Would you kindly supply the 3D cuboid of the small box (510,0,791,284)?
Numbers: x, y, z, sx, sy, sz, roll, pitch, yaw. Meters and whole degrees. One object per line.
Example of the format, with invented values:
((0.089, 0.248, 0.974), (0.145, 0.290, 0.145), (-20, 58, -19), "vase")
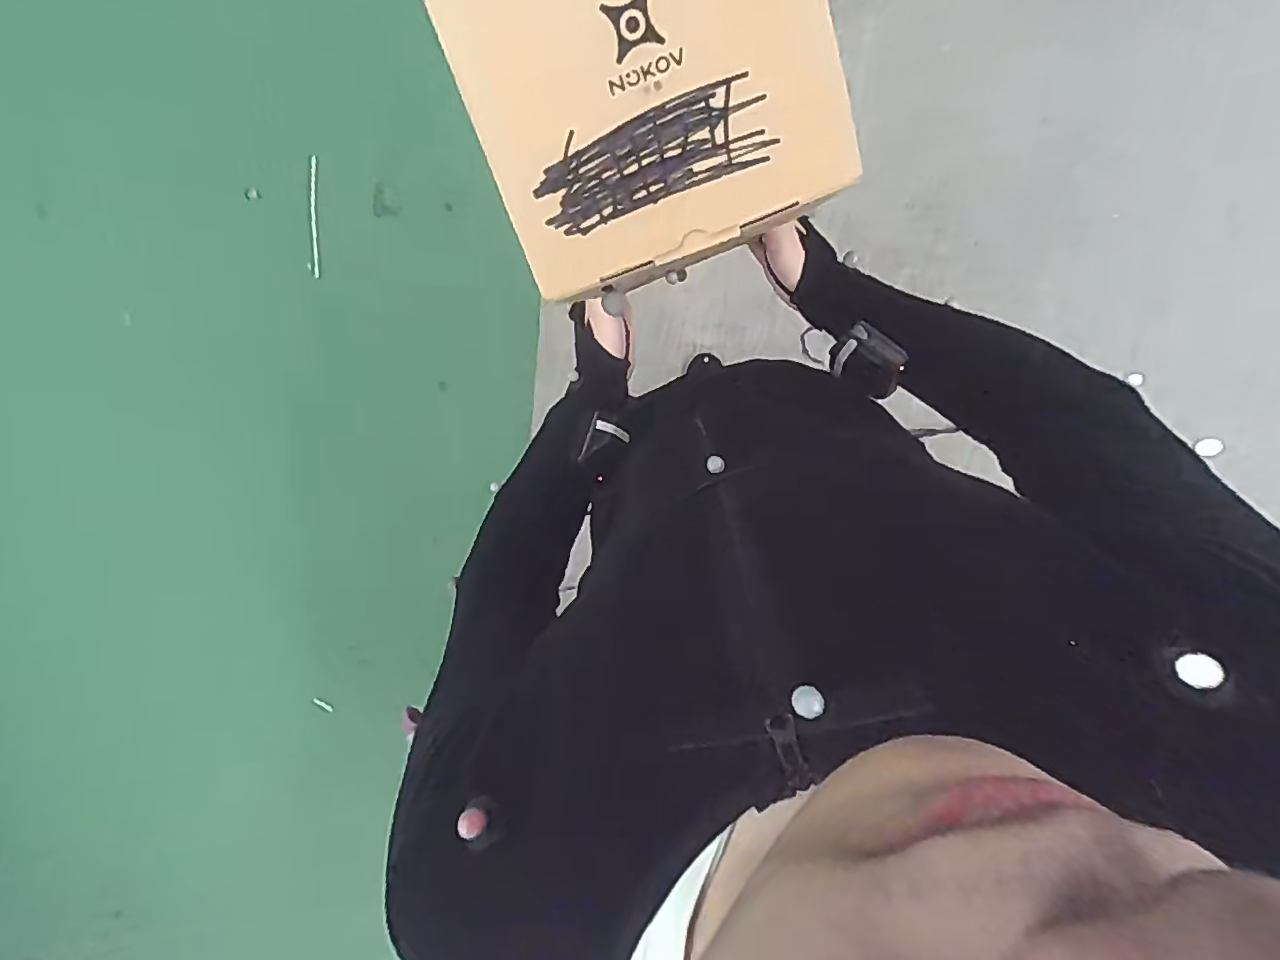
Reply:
((0.013, -0.283, 0.470), (0.168, 0.176, 0.179), (-19, 108, 10), "small box")
